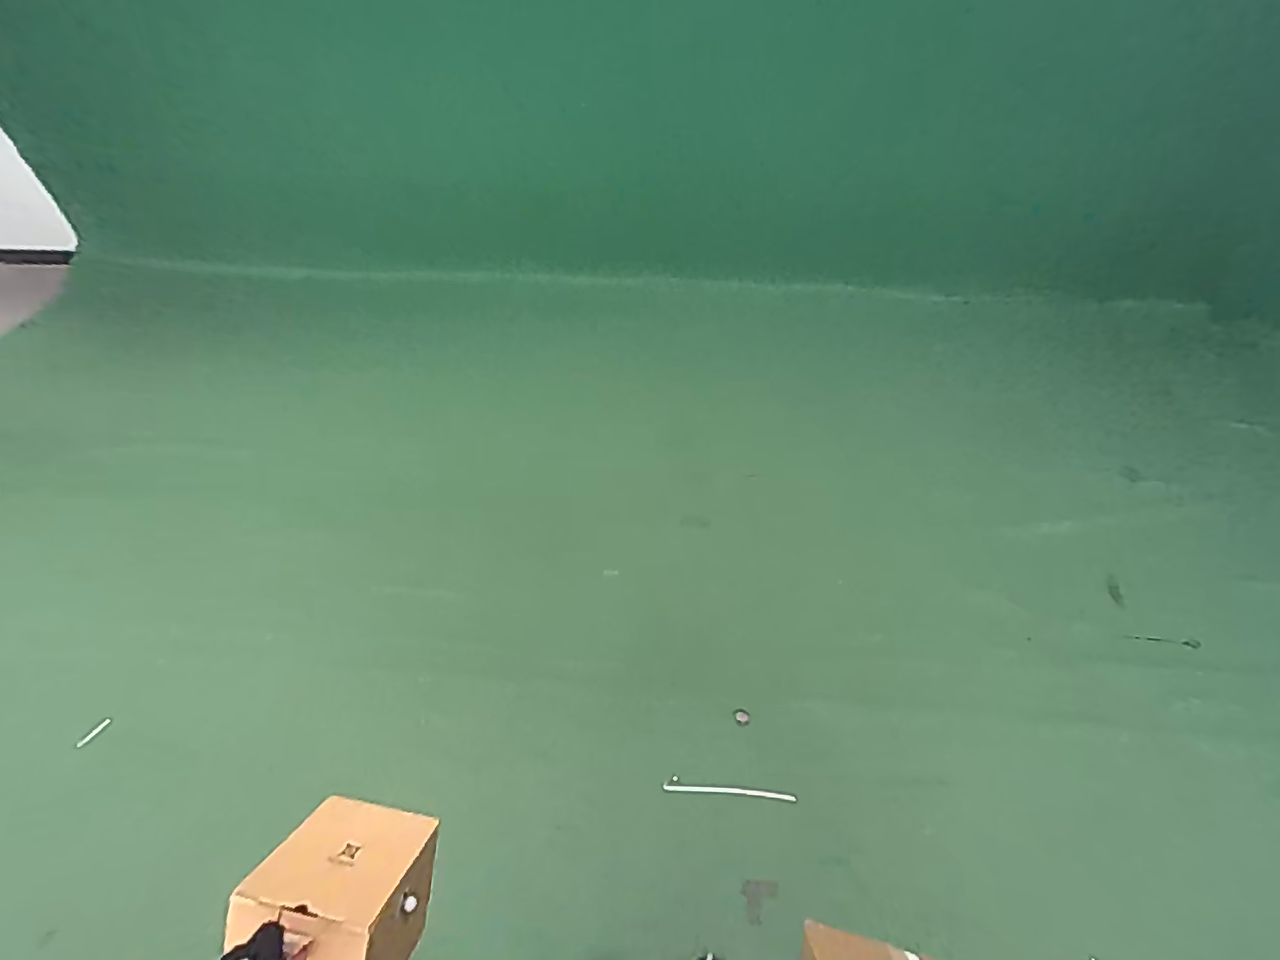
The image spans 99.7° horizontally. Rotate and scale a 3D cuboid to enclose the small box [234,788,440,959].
[{"bbox_3d":[-0.384,0.545,0.694,0.168,0.176,0.179,10,6,4],"label":"small box"}]
